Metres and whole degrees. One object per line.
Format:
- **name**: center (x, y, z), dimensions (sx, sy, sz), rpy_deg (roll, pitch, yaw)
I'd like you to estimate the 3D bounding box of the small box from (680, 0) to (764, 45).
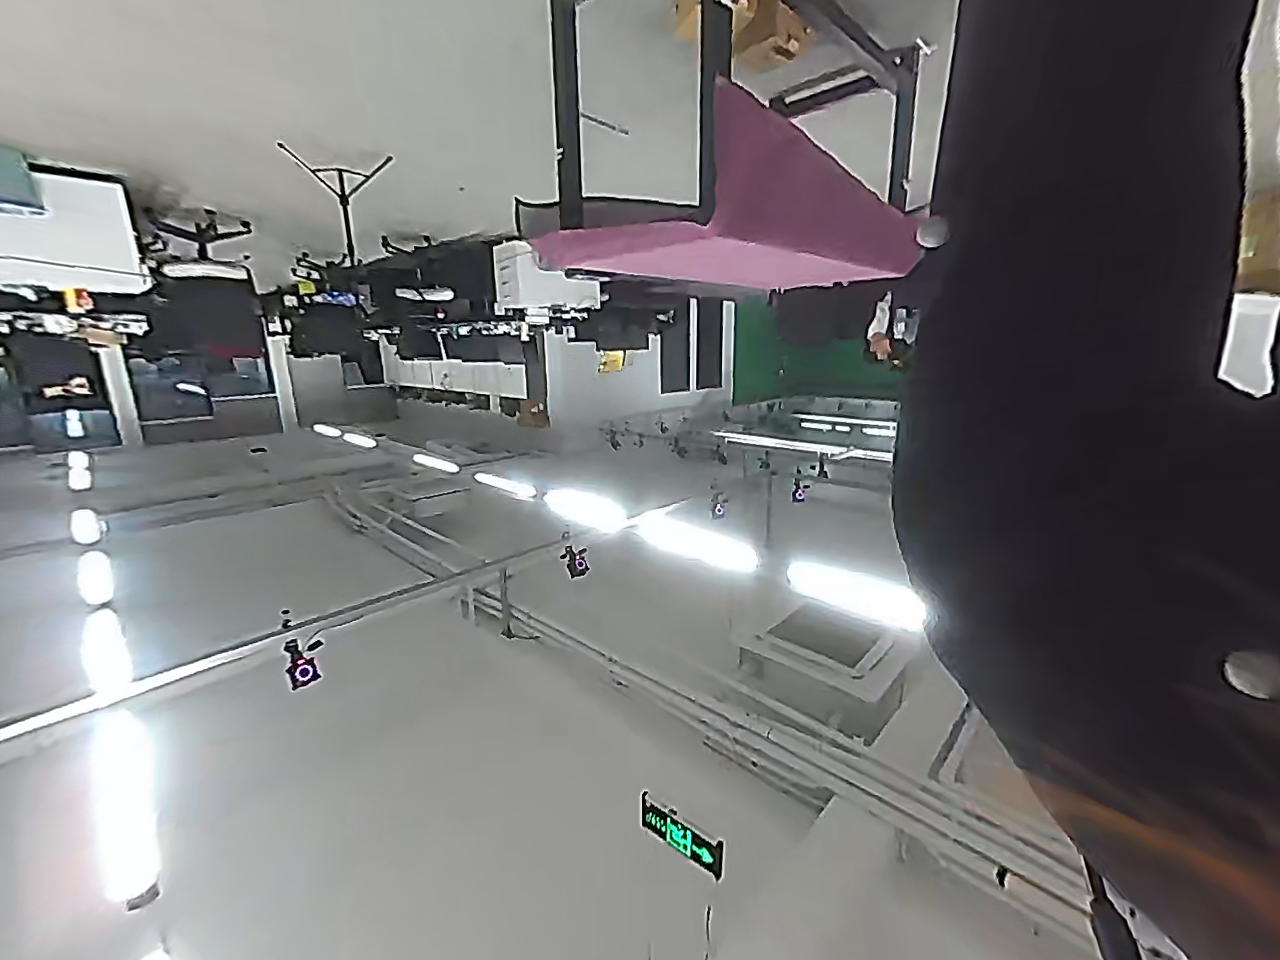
- **small box**: center (0.210, -1.264, 1.381), dimensions (0.168, 0.176, 0.179), rpy_deg (-5, -165, -16)
